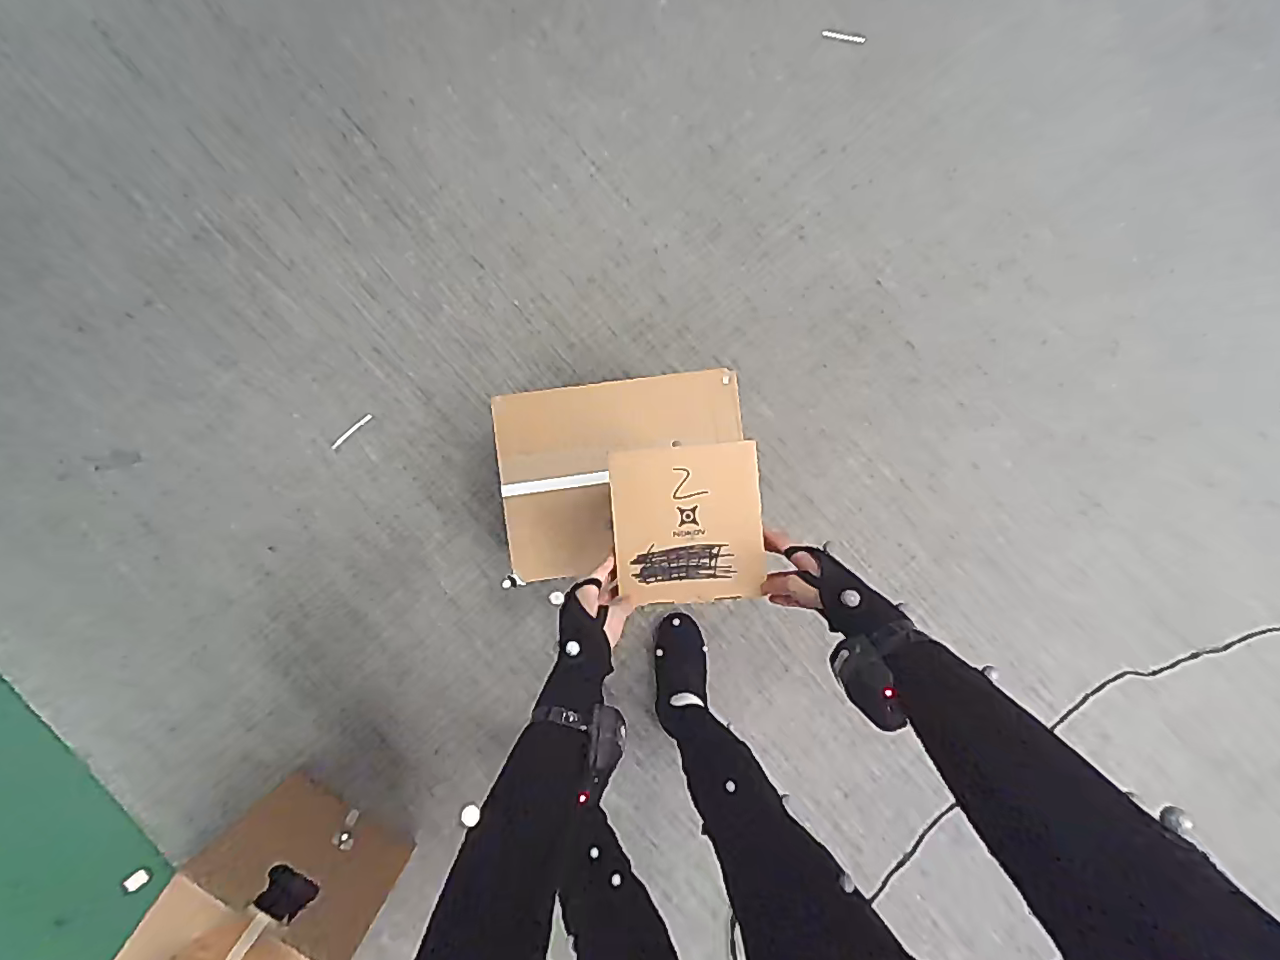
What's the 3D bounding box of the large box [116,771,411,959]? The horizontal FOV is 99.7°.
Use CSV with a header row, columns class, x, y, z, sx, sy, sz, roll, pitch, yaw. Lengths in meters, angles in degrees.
class,x,y,z,sx,sy,sz,roll,pitch,yaw
large box,-0.709,0.855,0.997,0.320,0.320,0.408,35,89,0
